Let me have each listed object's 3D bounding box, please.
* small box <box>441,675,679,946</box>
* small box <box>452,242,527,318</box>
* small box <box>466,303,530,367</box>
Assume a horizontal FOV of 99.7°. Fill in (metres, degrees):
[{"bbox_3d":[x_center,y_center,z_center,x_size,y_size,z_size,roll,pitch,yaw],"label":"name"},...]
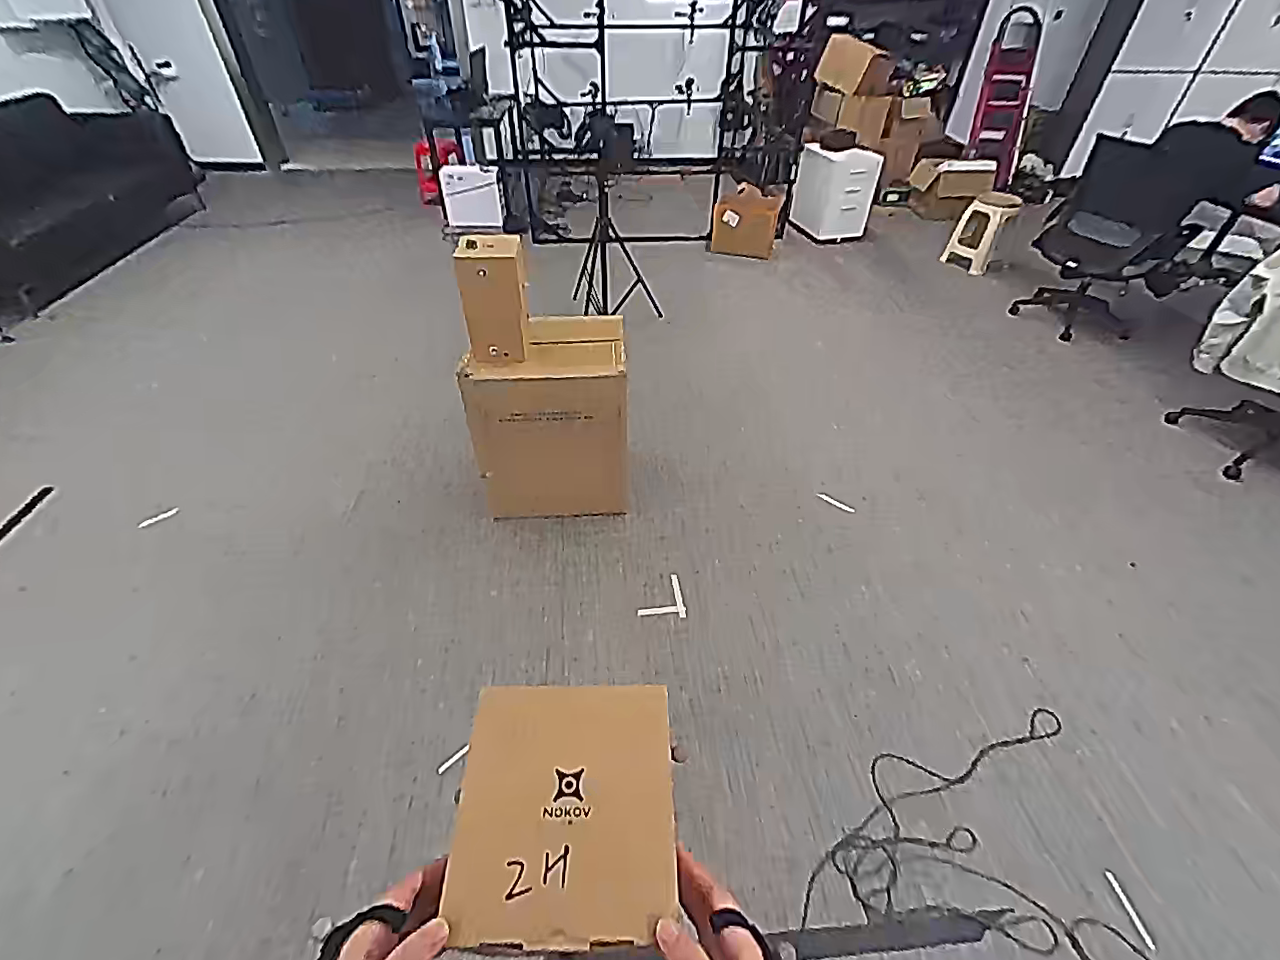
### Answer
[{"bbox_3d":[-0.056,0.293,0.481,0.168,0.176,0.179,-1,47,-1],"label":"small box"},{"bbox_3d":[-0.443,-0.597,1.618,0.179,0.176,0.168,-2,44,-4],"label":"small box"},{"bbox_3d":[-0.447,-0.479,1.733,0.168,0.176,0.179,-3,45,-4],"label":"small box"}]
